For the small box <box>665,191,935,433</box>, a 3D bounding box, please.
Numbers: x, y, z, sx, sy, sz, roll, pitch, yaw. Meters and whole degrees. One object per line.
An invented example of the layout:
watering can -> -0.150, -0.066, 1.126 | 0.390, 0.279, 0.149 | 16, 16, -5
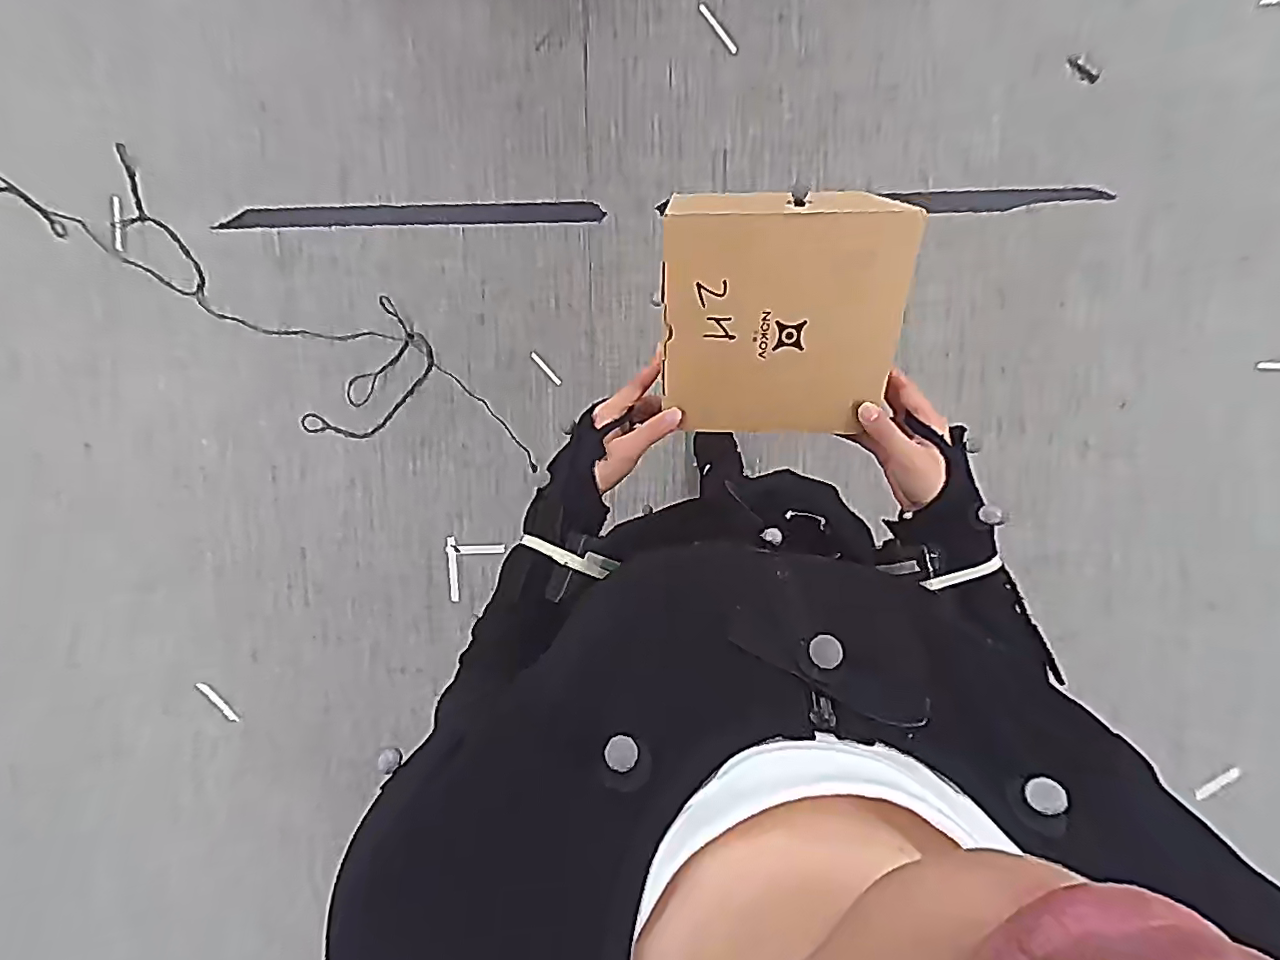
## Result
small box -> 0.114, -0.153, 0.469 | 0.179, 0.176, 0.168 | 3, 121, 4
